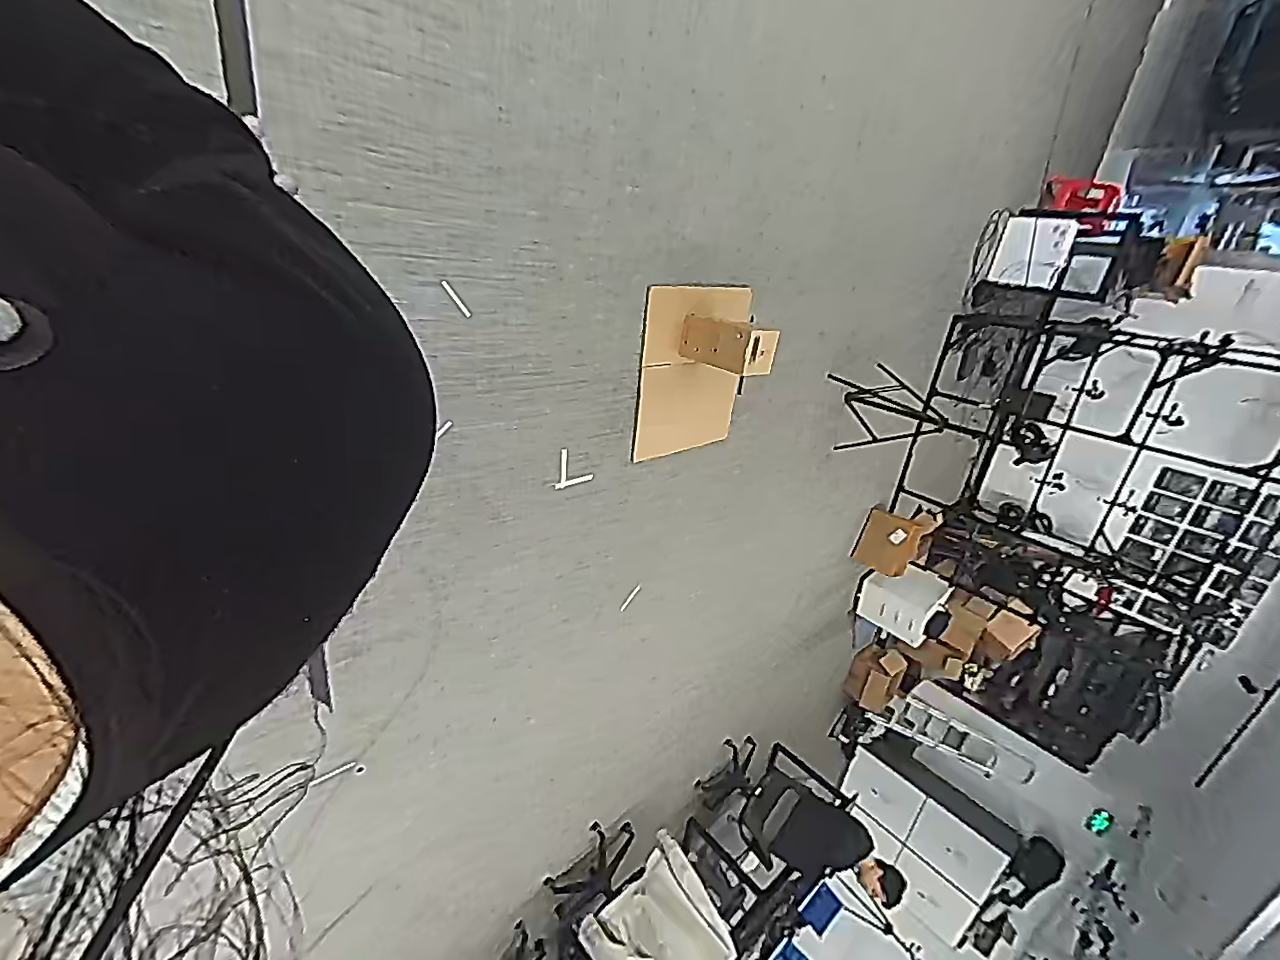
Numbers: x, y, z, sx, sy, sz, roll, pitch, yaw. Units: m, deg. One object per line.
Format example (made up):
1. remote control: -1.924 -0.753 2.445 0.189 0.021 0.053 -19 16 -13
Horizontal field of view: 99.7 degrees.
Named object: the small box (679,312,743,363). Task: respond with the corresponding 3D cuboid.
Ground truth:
1. small box: 0.277 -0.566 2.143 0.179 0.176 0.168 -12 121 -42
